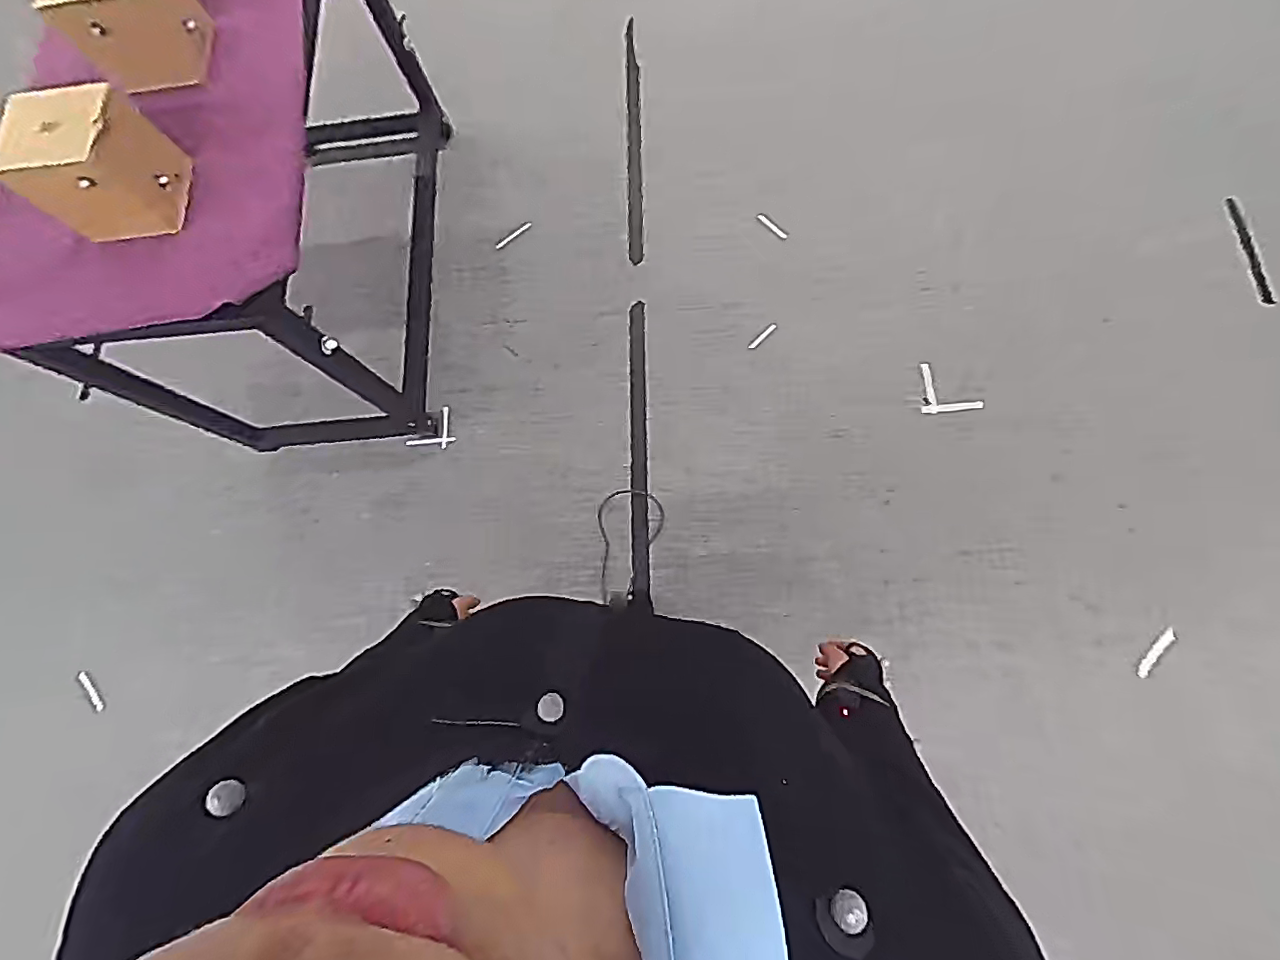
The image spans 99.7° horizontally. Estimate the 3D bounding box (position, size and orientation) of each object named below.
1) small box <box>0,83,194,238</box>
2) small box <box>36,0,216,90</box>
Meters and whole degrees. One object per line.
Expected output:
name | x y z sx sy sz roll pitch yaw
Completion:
small box | -0.956 -0.555 0.961 0.179 0.176 0.168 -5 75 2
small box | -0.981 -0.897 1.047 0.179 0.176 0.168 -4 76 3
